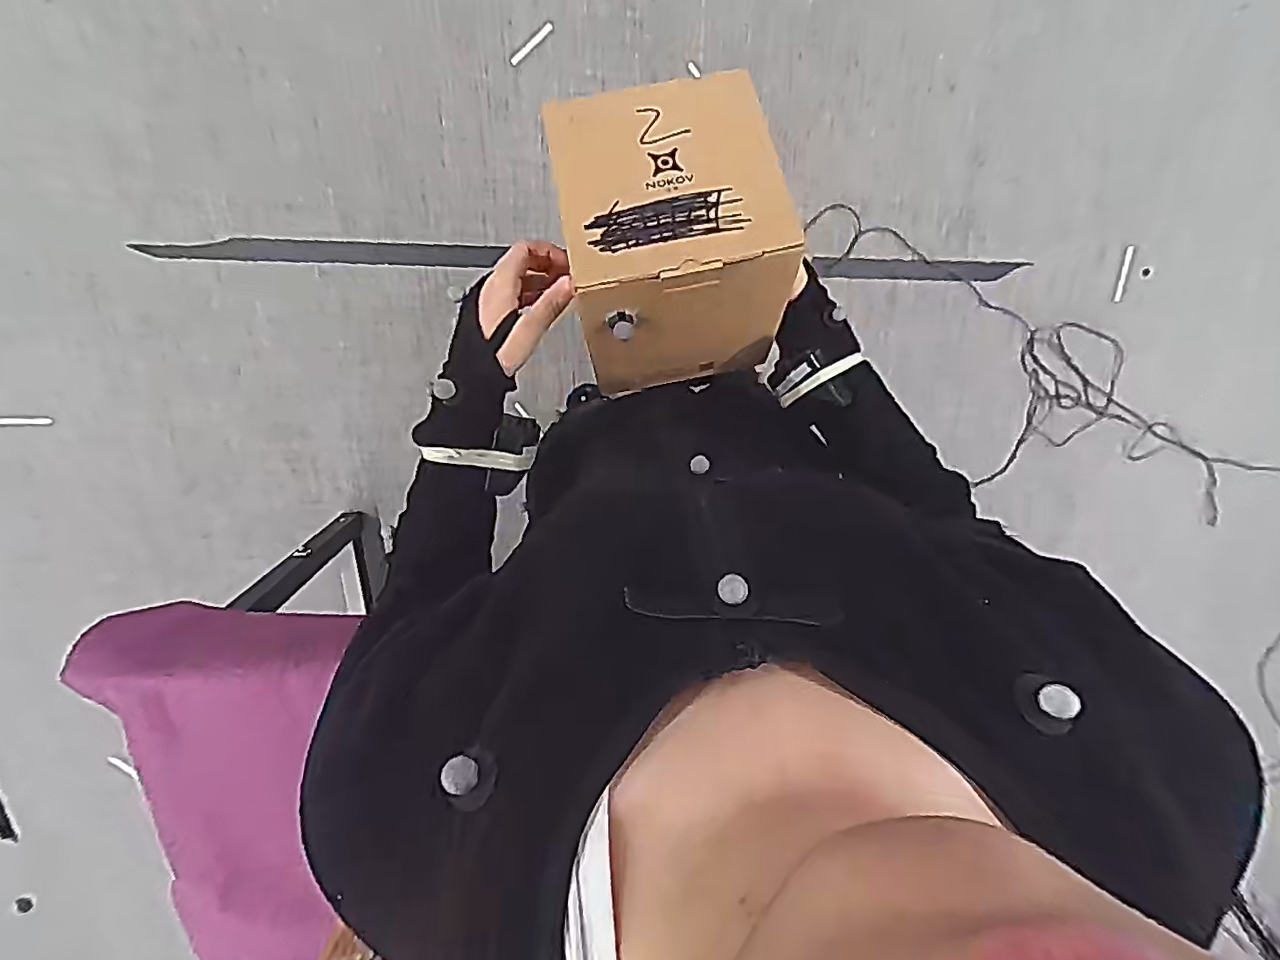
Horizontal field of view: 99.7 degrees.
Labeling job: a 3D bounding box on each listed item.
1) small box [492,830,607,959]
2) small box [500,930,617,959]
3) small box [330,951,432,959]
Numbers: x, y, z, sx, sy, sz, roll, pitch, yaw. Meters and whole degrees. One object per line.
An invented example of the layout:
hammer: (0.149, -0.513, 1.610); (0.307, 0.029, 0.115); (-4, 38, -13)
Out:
small box: (-0.138, 0.694, 0.867); (0.168, 0.176, 0.179); (-1, 107, -4)
small box: (-0.111, 0.745, 0.714); (0.168, 0.176, 0.179); (2, 105, -5)
small box: (-0.361, 0.766, 0.700); (0.168, 0.176, 0.179); (-3, 106, -5)
